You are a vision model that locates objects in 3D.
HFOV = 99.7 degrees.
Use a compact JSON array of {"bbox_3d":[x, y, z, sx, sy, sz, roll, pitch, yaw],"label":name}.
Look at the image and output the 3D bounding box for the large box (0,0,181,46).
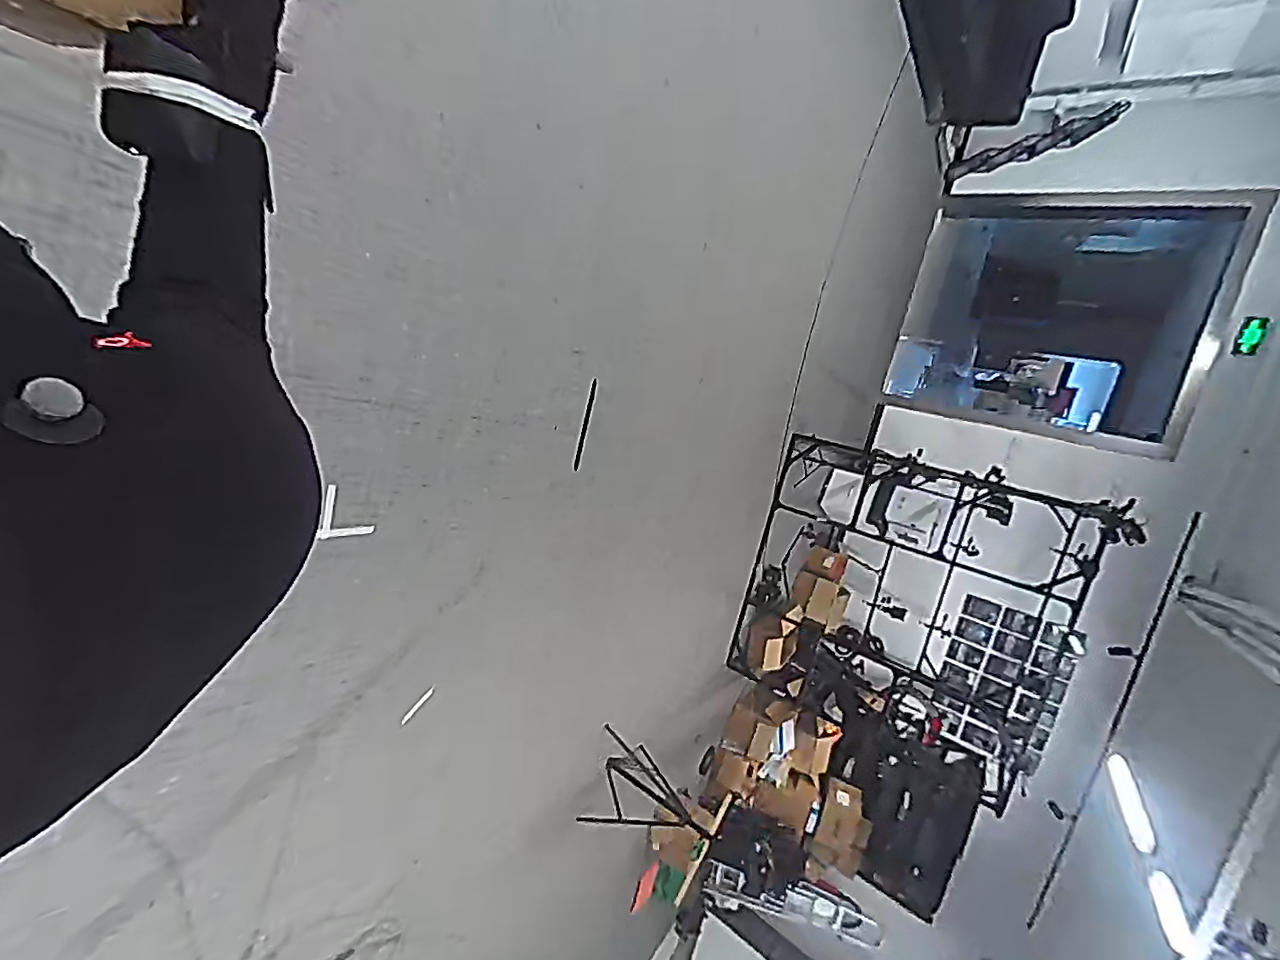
[{"bbox_3d":[-0.491,-0.471,0.225,0.408,0.320,0.320,-8,122,-57],"label":"large box"}]
